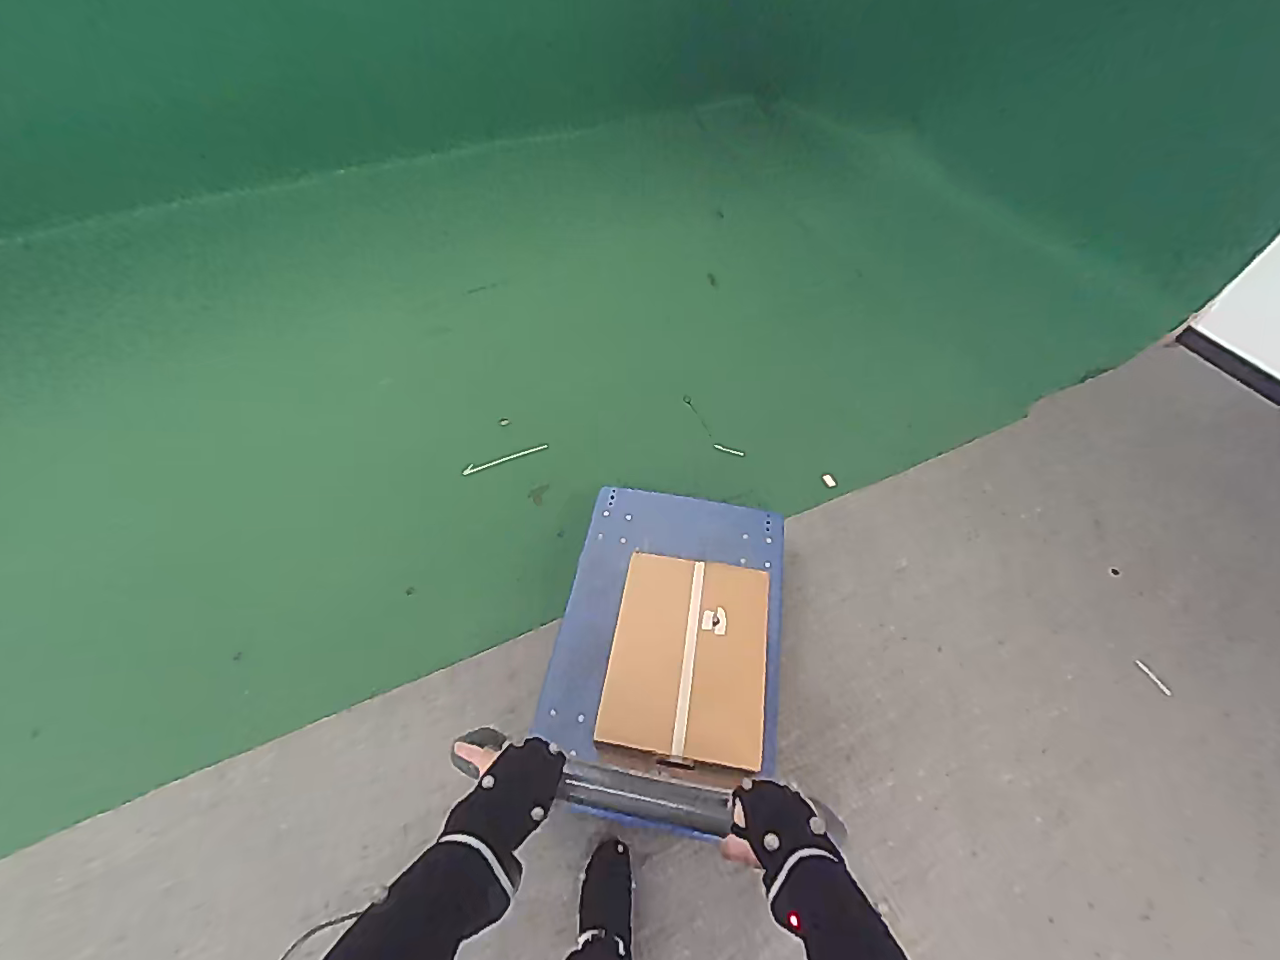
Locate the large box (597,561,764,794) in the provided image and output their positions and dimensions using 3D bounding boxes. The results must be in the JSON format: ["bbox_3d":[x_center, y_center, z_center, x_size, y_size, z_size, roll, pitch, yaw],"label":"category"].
[{"bbox_3d":[0.099,0.454,1.242,0.320,0.320,0.408,9,54,5],"label":"large box"}]
